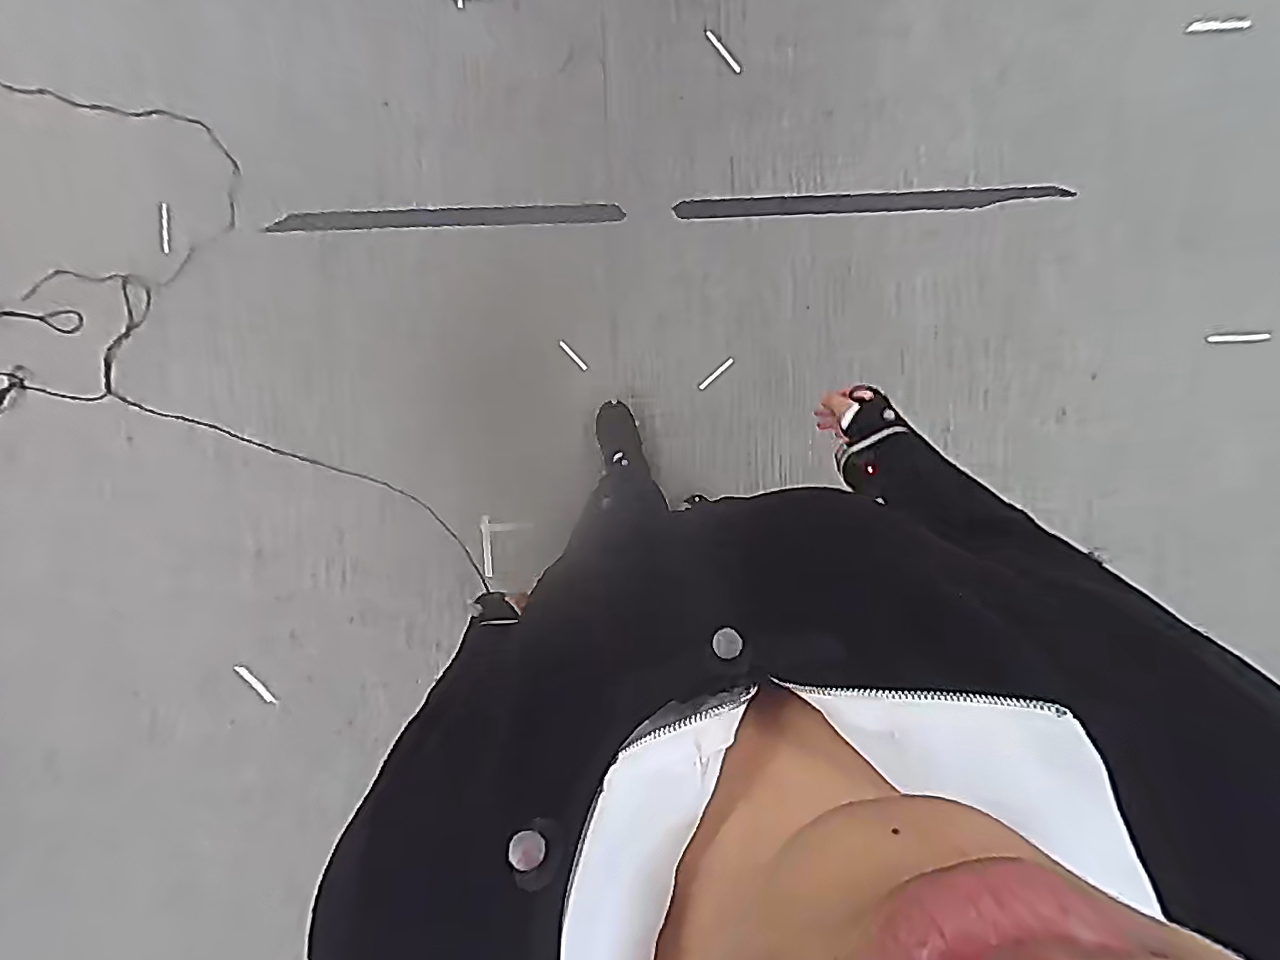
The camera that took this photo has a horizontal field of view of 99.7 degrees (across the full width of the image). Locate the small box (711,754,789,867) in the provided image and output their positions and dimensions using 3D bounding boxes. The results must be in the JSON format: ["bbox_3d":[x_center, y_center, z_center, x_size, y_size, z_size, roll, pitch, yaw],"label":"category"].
[{"bbox_3d":[0.263,0.800,1.319,0.168,0.176,0.179,-2,92,3],"label":"small box"}]
